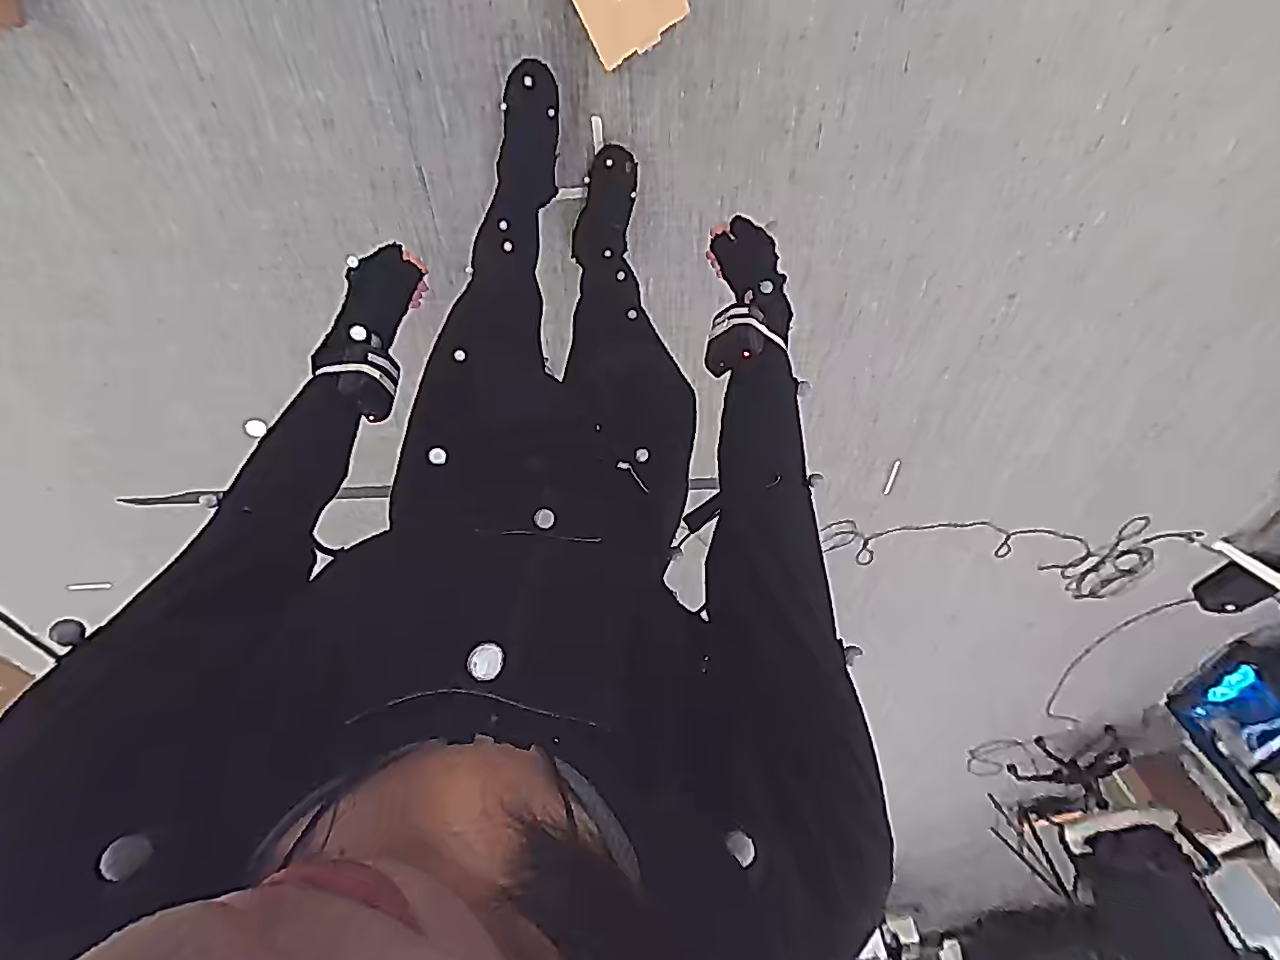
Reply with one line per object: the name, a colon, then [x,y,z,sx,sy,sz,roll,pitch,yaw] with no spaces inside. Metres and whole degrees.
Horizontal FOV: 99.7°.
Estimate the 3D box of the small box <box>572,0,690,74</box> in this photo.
small box: [-0.029,-0.842,0.921,0.168,0.176,0.179,-24,128,17]
